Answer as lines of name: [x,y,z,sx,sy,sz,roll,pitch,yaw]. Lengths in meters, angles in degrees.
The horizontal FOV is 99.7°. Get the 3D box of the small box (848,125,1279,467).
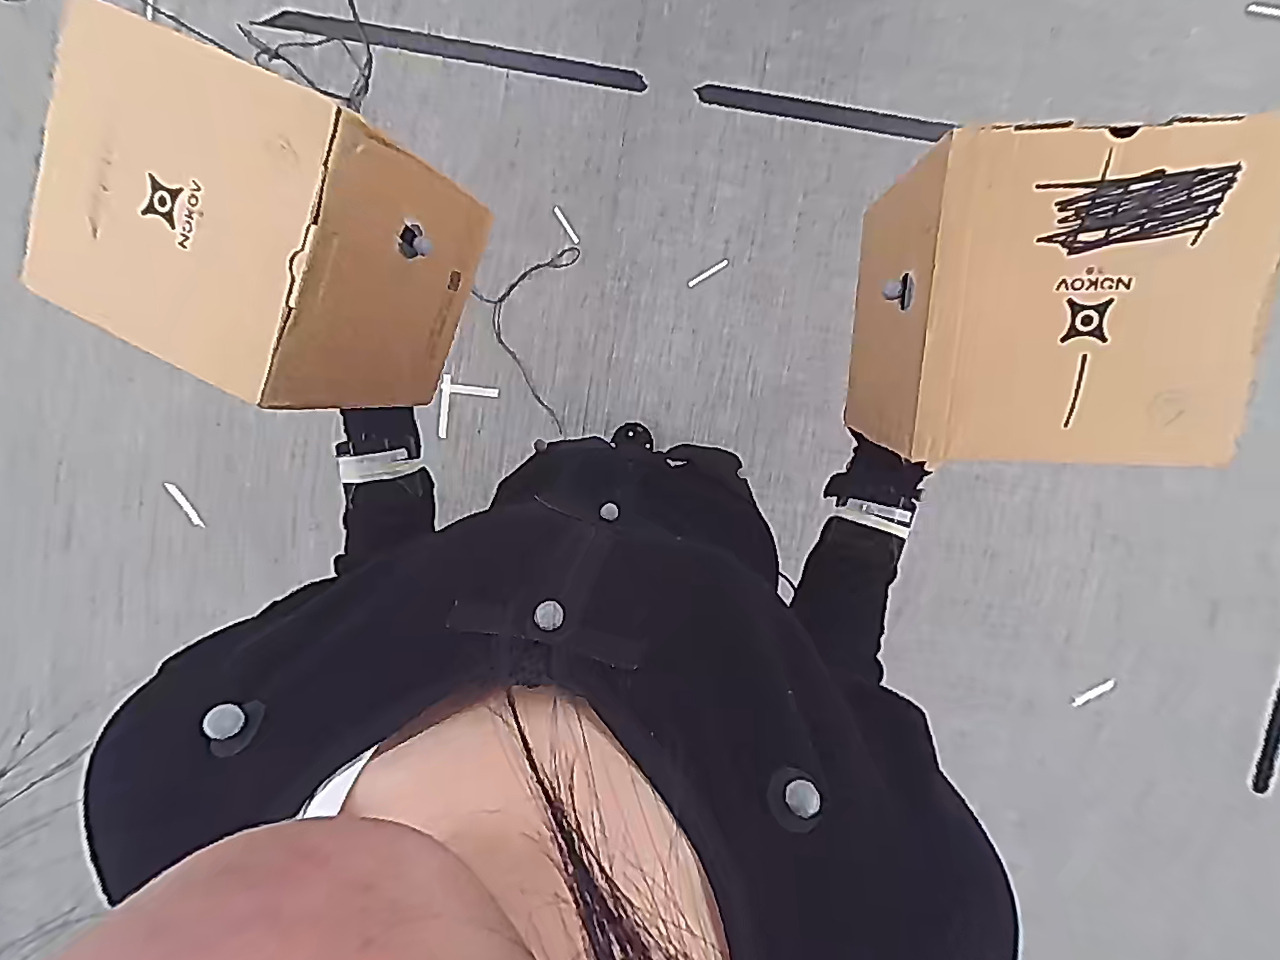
small box: [0.252,-0.112,0.372,0.168,0.176,0.179,2,103,7]

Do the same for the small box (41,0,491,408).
small box: [-0.233,-0.161,0.374,0.179,0.176,0.168,25,102,7]
